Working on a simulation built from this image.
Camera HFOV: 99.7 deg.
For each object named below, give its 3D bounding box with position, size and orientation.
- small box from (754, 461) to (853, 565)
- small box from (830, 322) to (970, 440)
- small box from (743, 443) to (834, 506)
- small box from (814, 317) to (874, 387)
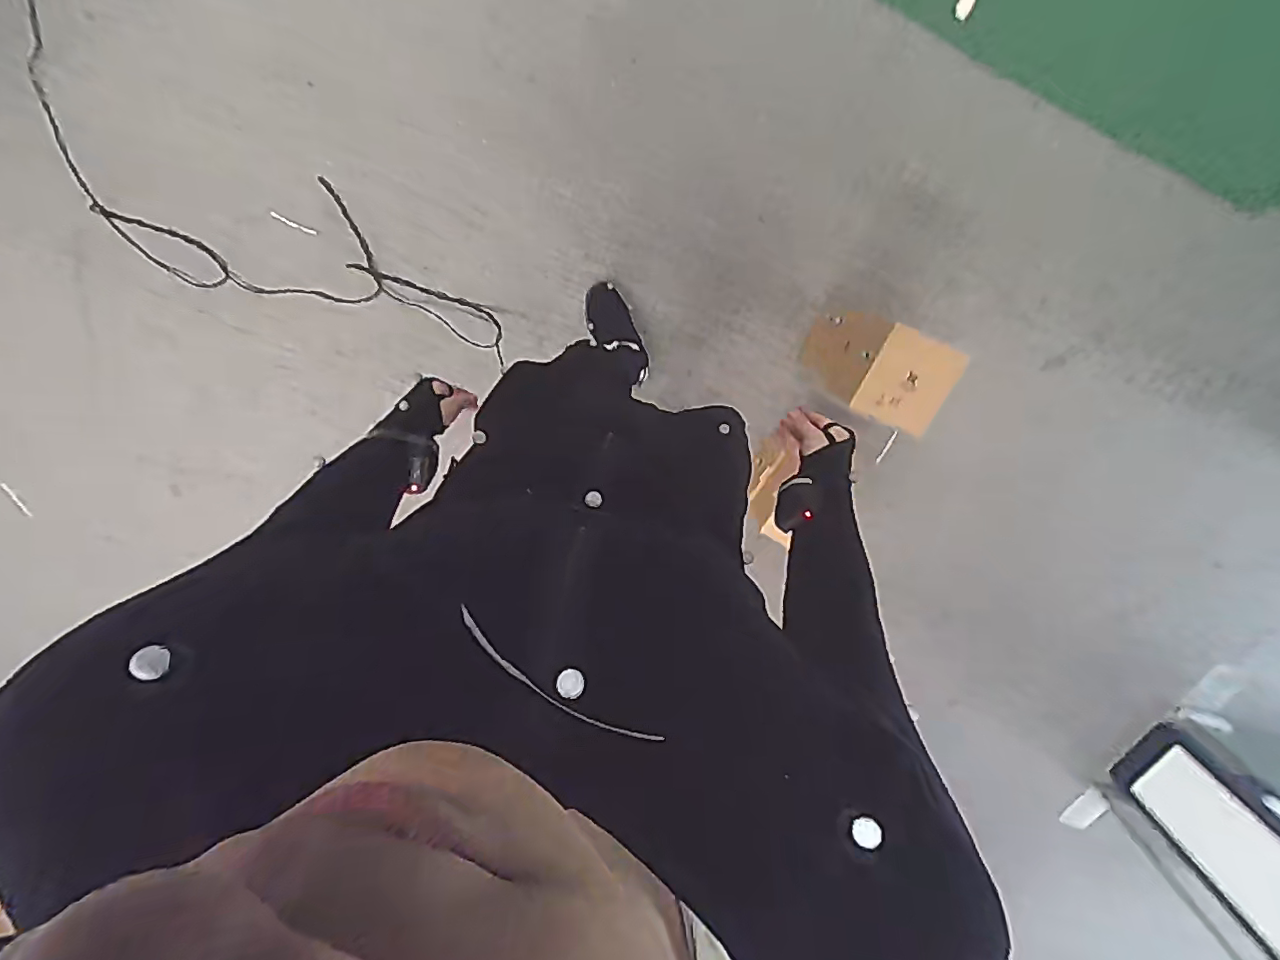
[{"bbox_3d":[0.412,0.080,1.400,0.168,0.176,0.179,28,109,-9],"label":"small box"},{"bbox_3d":[0.517,-0.210,1.109,0.168,0.176,0.179,22,110,-6],"label":"small box"},{"bbox_3d":[0.415,0.012,1.548,0.179,0.176,0.168,30,110,-8],"label":"small box"},{"bbox_3d":[0.535,-0.270,1.263,0.179,0.176,0.168,21,111,-7],"label":"small box"}]
